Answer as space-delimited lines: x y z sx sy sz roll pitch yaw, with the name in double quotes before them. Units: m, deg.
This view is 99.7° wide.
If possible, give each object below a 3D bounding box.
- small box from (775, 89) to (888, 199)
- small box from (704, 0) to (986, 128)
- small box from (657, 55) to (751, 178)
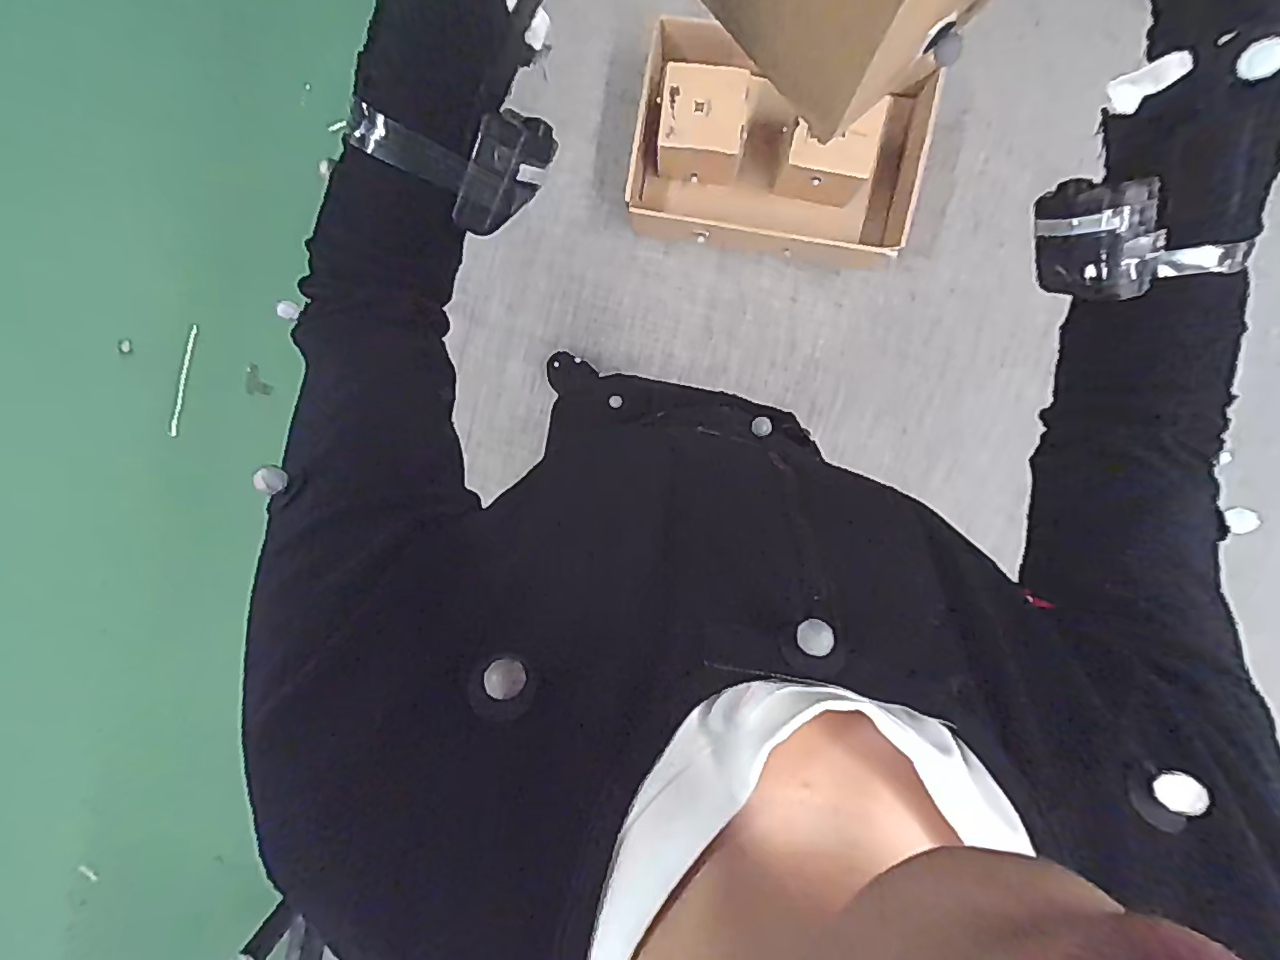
"small box" 0.411 -0.746 1.195 0.179 0.176 0.168 13 99 2
"small box" 0.119 -0.333 0.270 0.168 0.176 0.179 -41 92 8
"small box" 0.134 -0.796 1.203 0.179 0.176 0.168 8 98 1
